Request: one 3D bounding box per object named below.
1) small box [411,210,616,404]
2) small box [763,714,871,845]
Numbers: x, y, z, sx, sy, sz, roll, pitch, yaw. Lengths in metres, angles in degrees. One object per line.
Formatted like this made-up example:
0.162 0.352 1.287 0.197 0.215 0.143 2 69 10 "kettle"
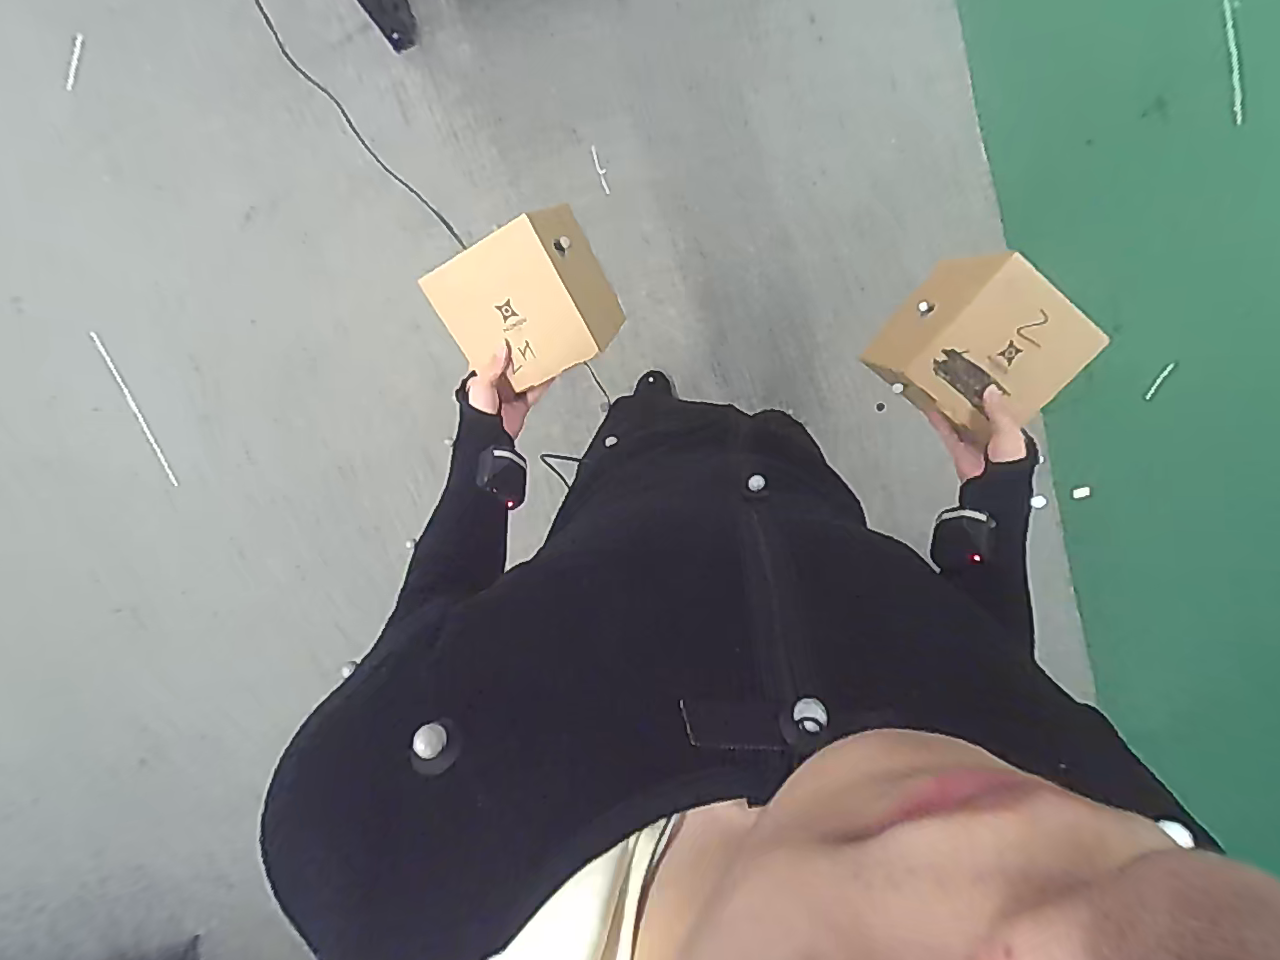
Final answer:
-0.150 -0.232 0.708 0.168 0.176 0.179 -20 115 21 "small box"
0.369 0.624 1.150 0.168 0.176 0.179 -12 101 3 "small box"
